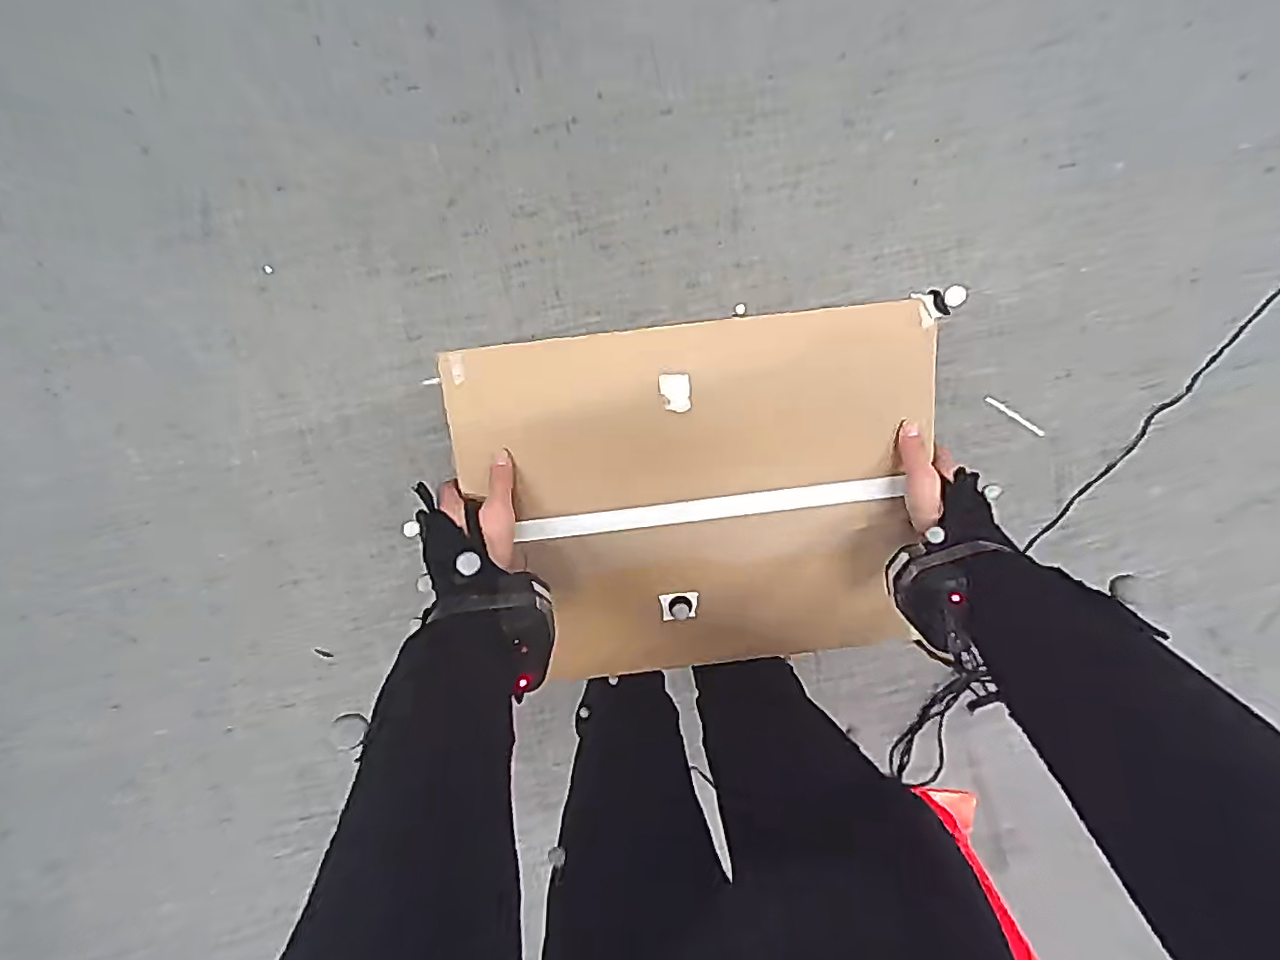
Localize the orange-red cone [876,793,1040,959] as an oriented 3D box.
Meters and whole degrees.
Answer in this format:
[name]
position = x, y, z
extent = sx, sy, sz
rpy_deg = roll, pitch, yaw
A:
[orange-red cone]
position = 0.604, 0.762, 0.946
extent = 0.199, 0.360, 0.198
rpy_deg = 7, 96, -3
